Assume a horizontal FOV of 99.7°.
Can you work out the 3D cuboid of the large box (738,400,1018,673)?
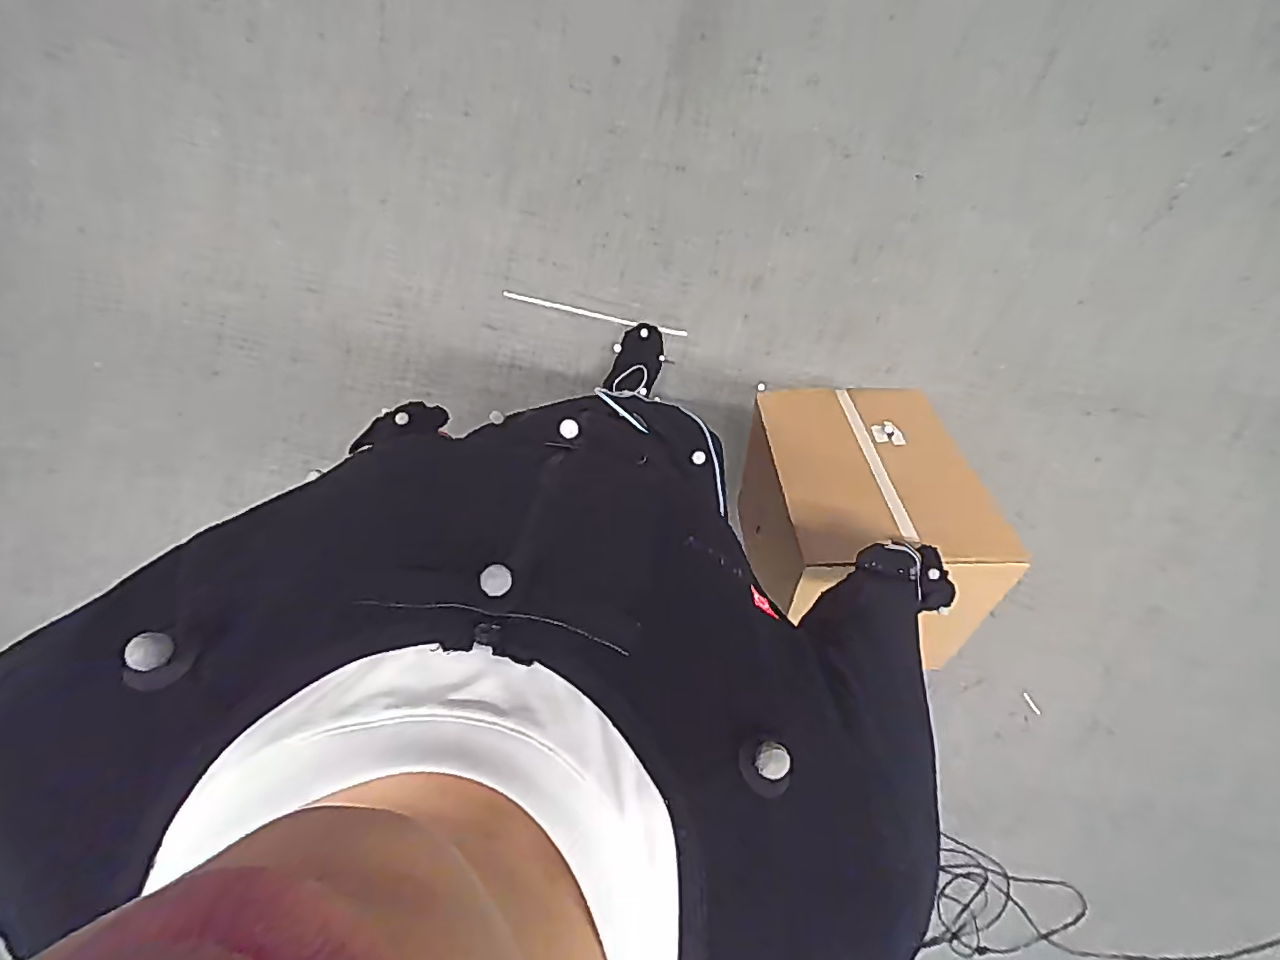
[{"bbox_3d":[0.374,0.096,0.993,0.320,0.408,0.320,0,133,-1],"label":"large box"}]
